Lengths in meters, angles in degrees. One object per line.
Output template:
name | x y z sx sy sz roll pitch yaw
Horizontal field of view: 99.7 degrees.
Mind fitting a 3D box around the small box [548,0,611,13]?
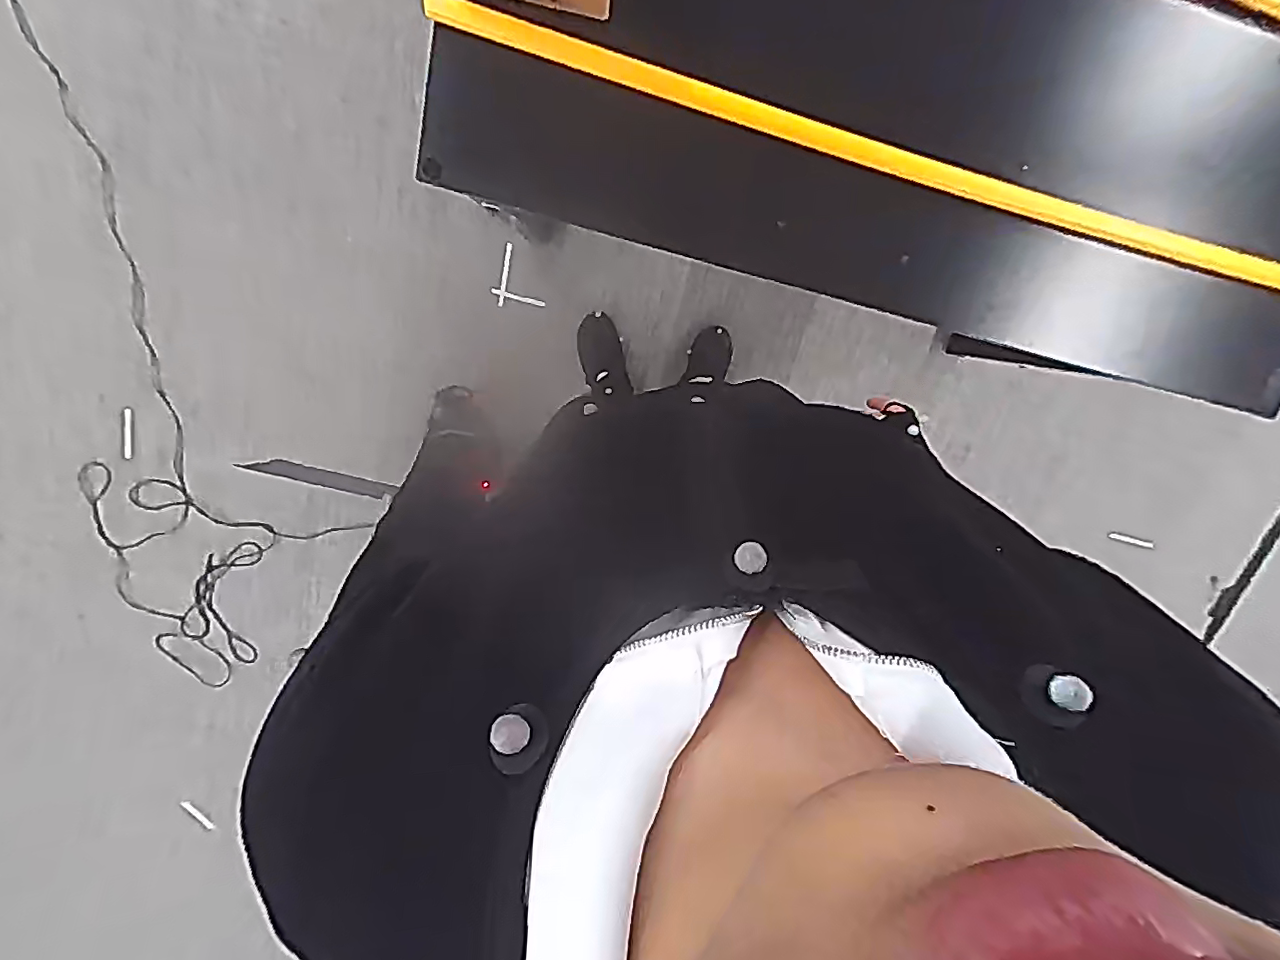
small box | -0.091 -0.575 0.479 0.168 0.176 0.179 9 108 -6
